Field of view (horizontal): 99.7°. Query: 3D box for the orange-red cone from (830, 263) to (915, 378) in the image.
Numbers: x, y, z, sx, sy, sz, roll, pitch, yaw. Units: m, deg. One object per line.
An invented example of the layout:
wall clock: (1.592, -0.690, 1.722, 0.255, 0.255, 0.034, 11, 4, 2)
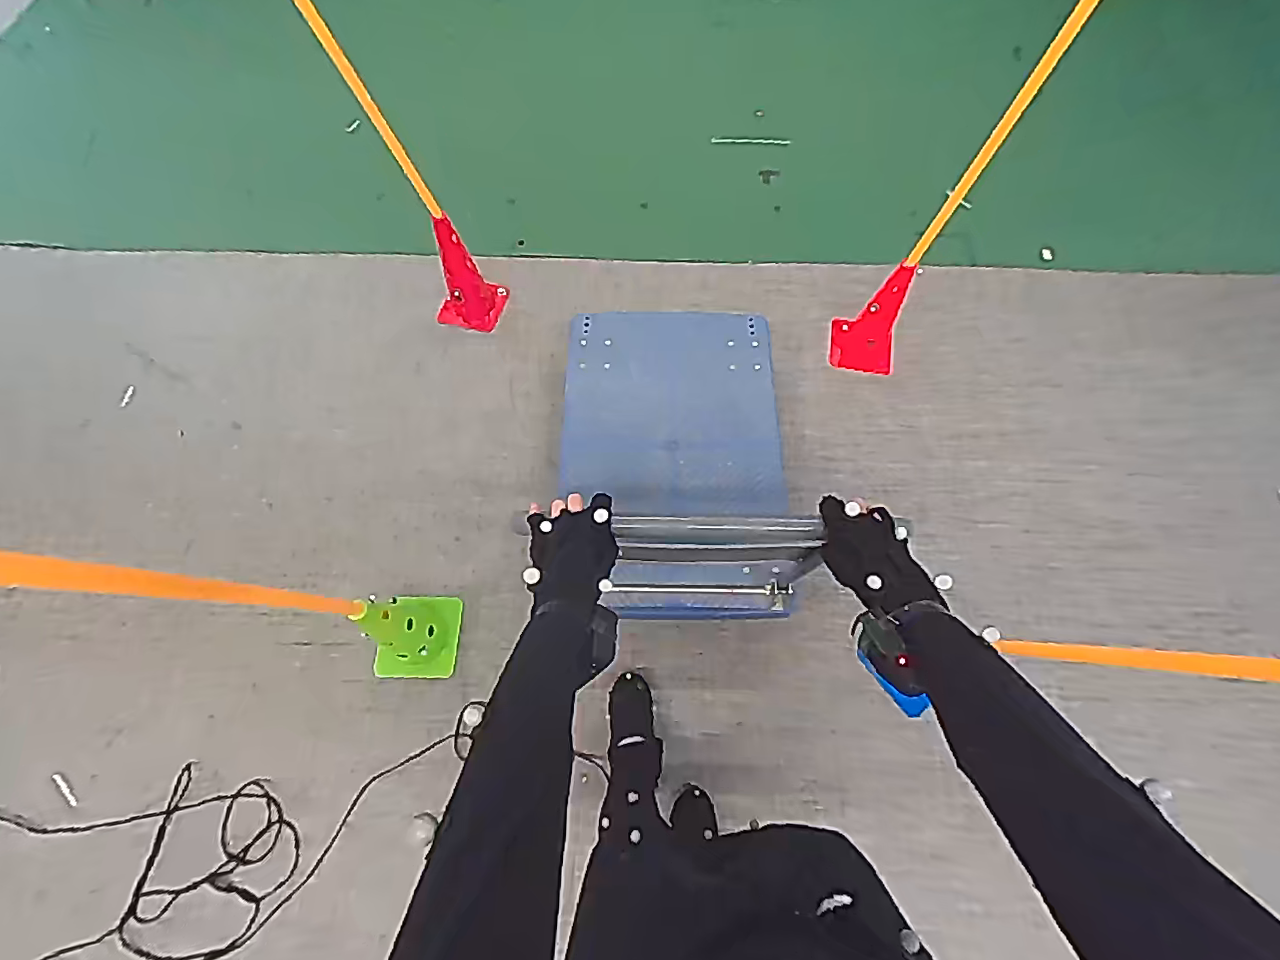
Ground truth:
orange-red cone: (0.720, -0.493, 1.600, 0.198, 0.360, 0.199, 12, 67, 6)
